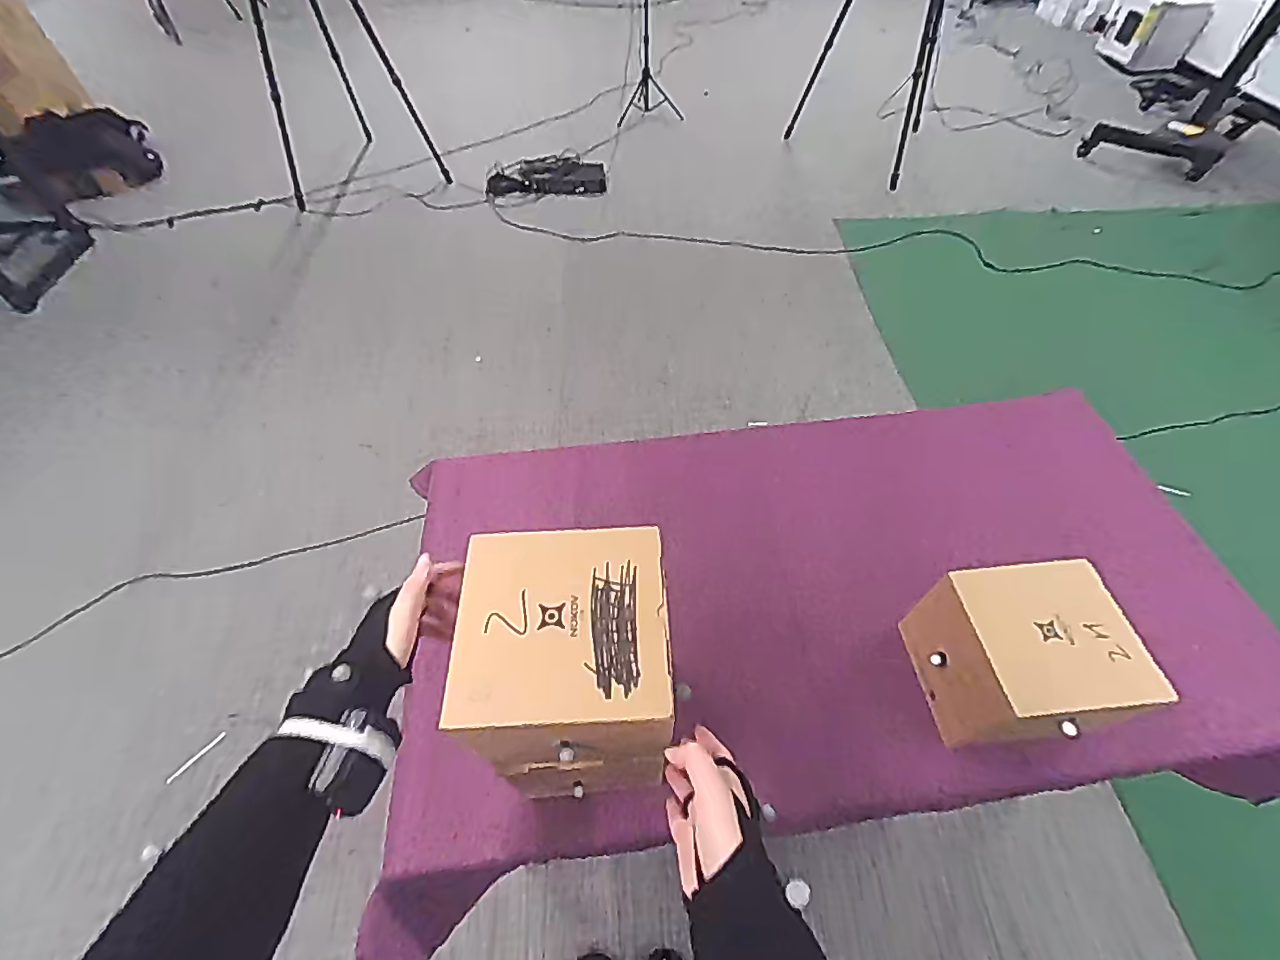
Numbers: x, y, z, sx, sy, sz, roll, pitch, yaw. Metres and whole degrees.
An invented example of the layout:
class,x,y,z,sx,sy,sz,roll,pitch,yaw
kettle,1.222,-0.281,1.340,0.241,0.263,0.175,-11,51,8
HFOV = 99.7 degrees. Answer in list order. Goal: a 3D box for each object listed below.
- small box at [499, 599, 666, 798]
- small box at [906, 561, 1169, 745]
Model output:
class,x,y,z,sx,sy,sz,roll,pitch,yaw
small box,-0.064,0.261,0.641,0.168,0.176,0.179,-5,54,-3
small box,0.455,0.217,0.664,0.179,0.176,0.168,-5,54,-3
